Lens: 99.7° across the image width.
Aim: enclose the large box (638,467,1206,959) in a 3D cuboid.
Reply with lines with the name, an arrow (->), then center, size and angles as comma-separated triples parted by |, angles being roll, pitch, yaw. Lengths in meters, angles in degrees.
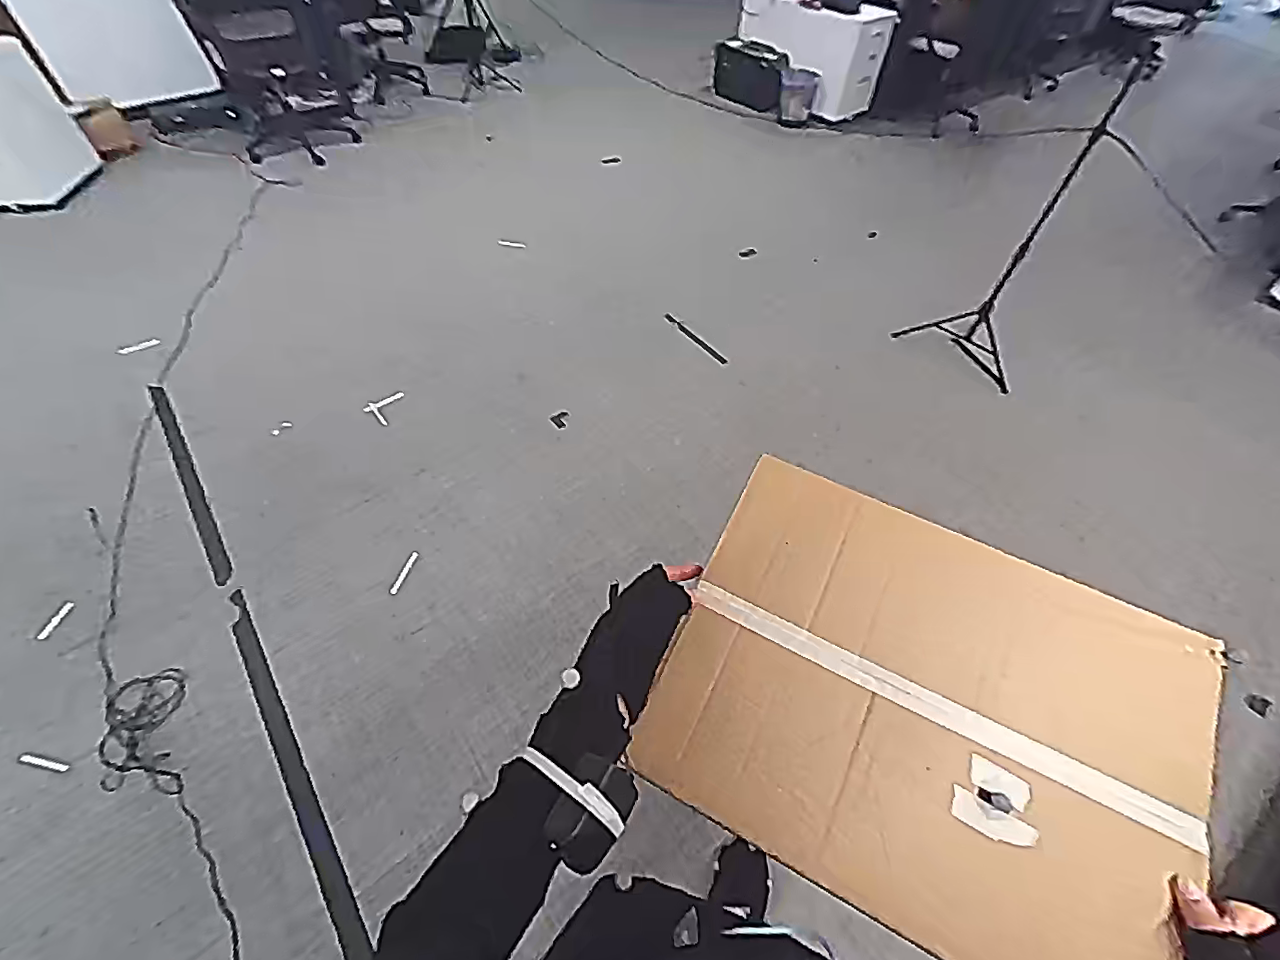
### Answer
large box -> 0.246, 0.247, 0.589 | 0.408, 0.320, 0.320 | 25, 70, 14
